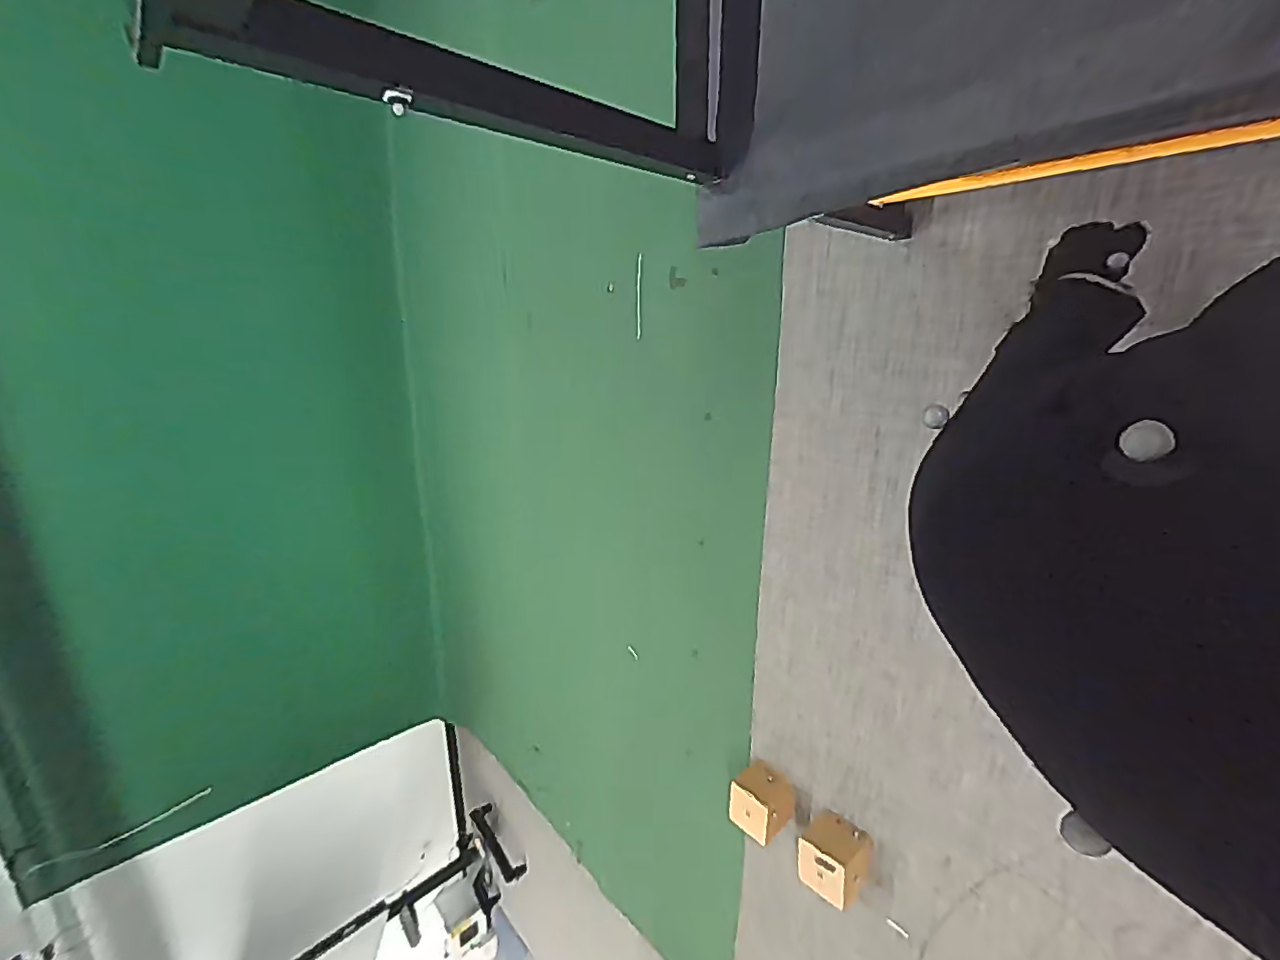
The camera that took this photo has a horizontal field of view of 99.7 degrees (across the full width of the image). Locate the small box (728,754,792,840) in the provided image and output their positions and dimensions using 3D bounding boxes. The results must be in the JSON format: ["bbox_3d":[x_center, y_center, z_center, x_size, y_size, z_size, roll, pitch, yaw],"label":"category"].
[{"bbox_3d":[0.447,1.172,2.011,0.168,0.176,0.179,16,112,45],"label":"small box"}]

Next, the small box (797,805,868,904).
[{"bbox_3d":[0.644,1.237,1.804,0.168,0.176,0.179,11,109,47],"label":"small box"}]
